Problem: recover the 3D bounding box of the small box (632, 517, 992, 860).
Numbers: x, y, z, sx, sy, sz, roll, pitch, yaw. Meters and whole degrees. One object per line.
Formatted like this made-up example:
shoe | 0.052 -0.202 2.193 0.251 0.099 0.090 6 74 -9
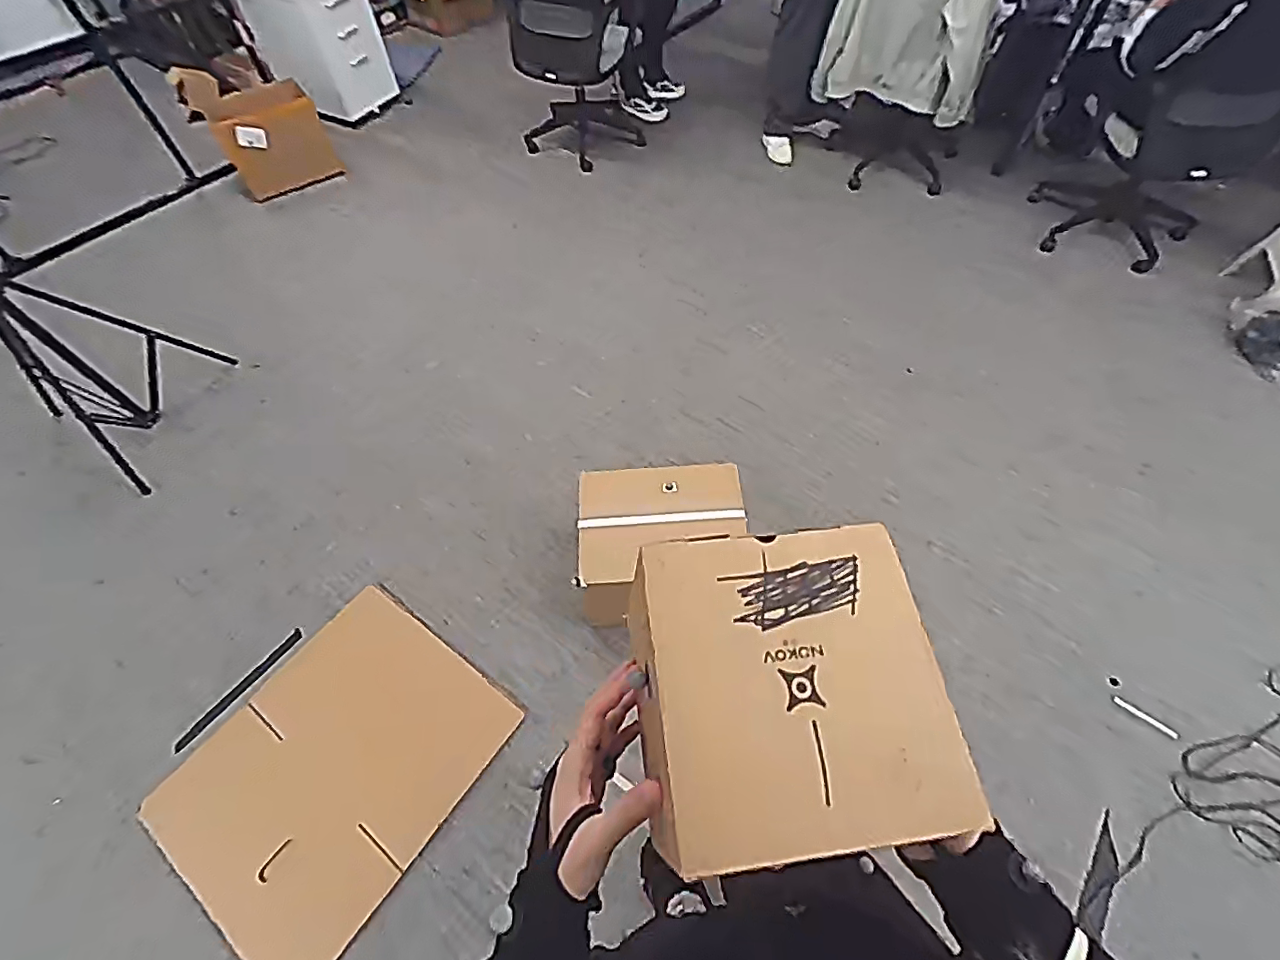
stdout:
small box | 0.086 0.143 0.378 0.168 0.176 0.179 -4 61 -6
